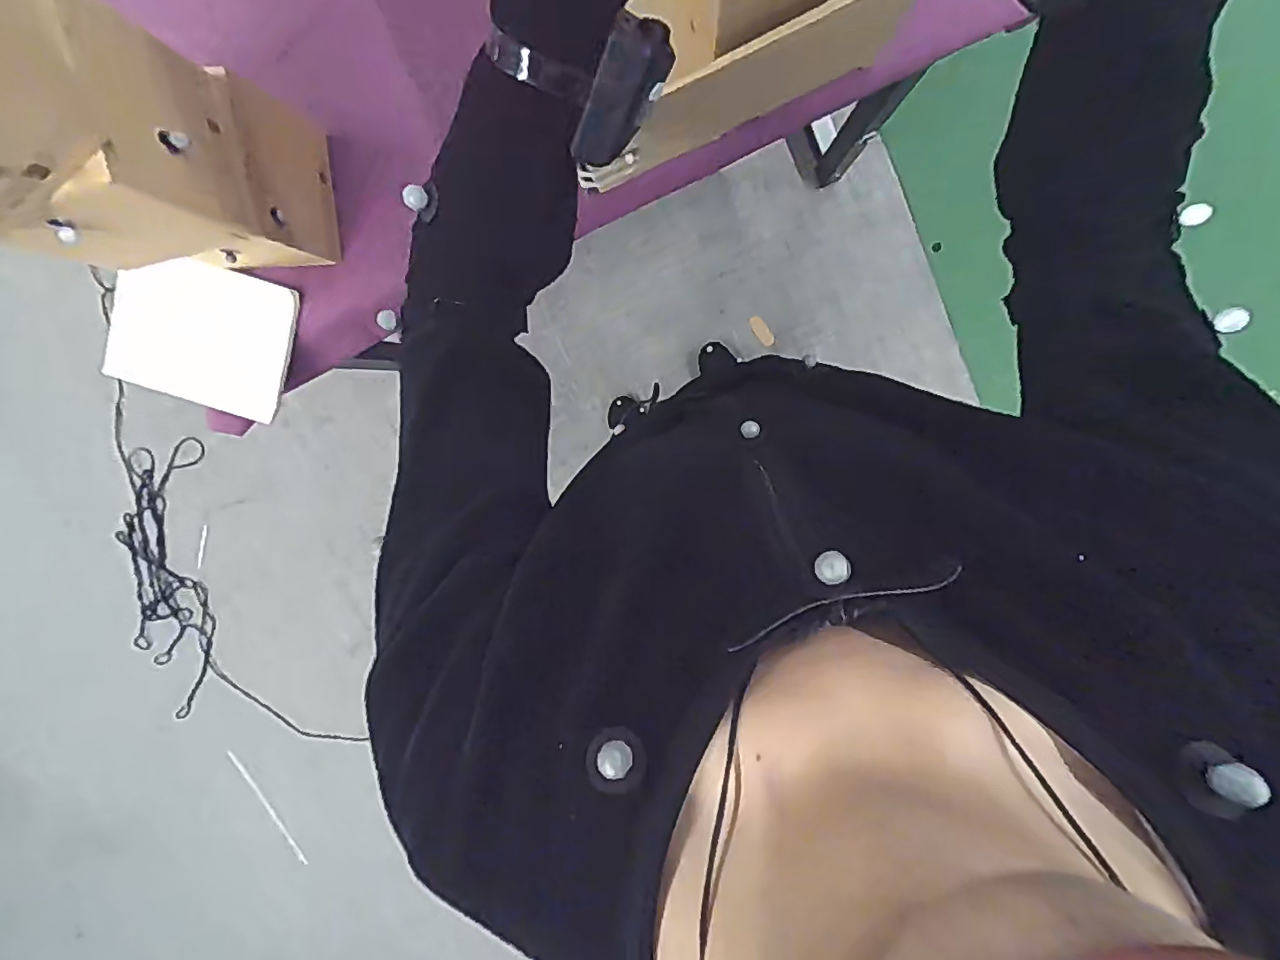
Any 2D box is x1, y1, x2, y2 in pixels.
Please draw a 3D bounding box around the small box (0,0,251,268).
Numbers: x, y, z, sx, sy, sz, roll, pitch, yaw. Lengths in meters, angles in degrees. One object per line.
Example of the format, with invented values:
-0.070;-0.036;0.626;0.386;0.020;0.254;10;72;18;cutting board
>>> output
-0.513;-0.315;0.510;0.179;0.176;0.168;-10;99;6;small box
